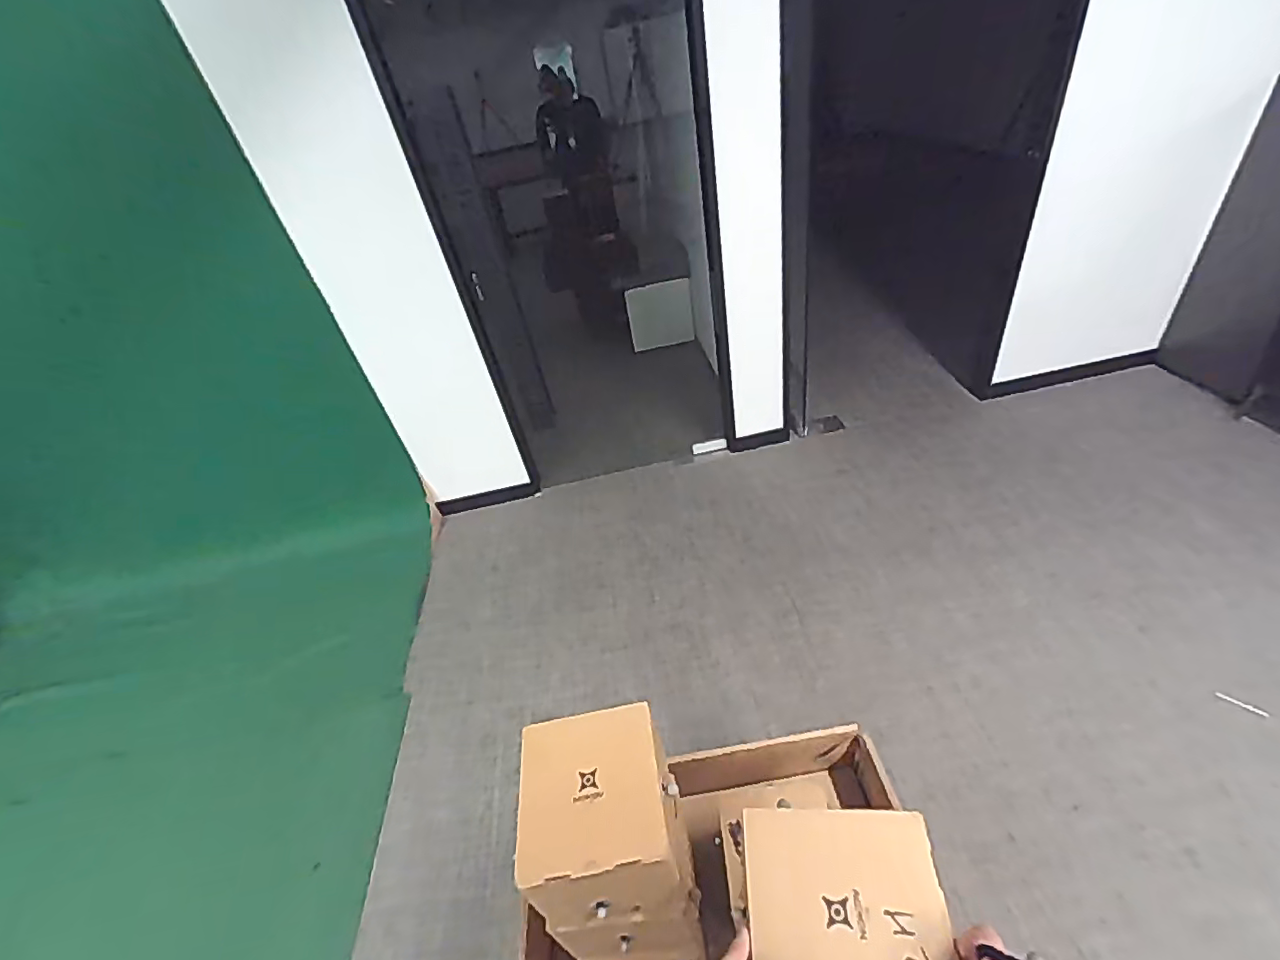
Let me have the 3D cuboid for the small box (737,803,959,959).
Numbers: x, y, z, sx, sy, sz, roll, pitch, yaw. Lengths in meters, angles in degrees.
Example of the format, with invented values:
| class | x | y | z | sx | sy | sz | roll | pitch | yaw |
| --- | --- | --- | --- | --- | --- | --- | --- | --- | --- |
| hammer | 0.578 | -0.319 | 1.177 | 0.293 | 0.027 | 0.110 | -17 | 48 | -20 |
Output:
| class | x | y | z | sx | sy | sz | roll | pitch | yaw |
| --- | --- | --- | --- | --- | --- | --- | --- | --- | --- |
| small box | 0.190 | 0.435 | 0.532 | 0.179 | 0.176 | 0.168 | -3 | 45 | 8 |

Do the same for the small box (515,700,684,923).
| class | x | y | z | sx | sy | sz | roll | pitch | yaw |
| --- | --- | --- | --- | --- | --- | --- | --- | --- | --- |
| small box | -0.046 | 0.409 | 0.672 | 0.168 | 0.176 | 0.179 | -12 | 38 | 1 |
